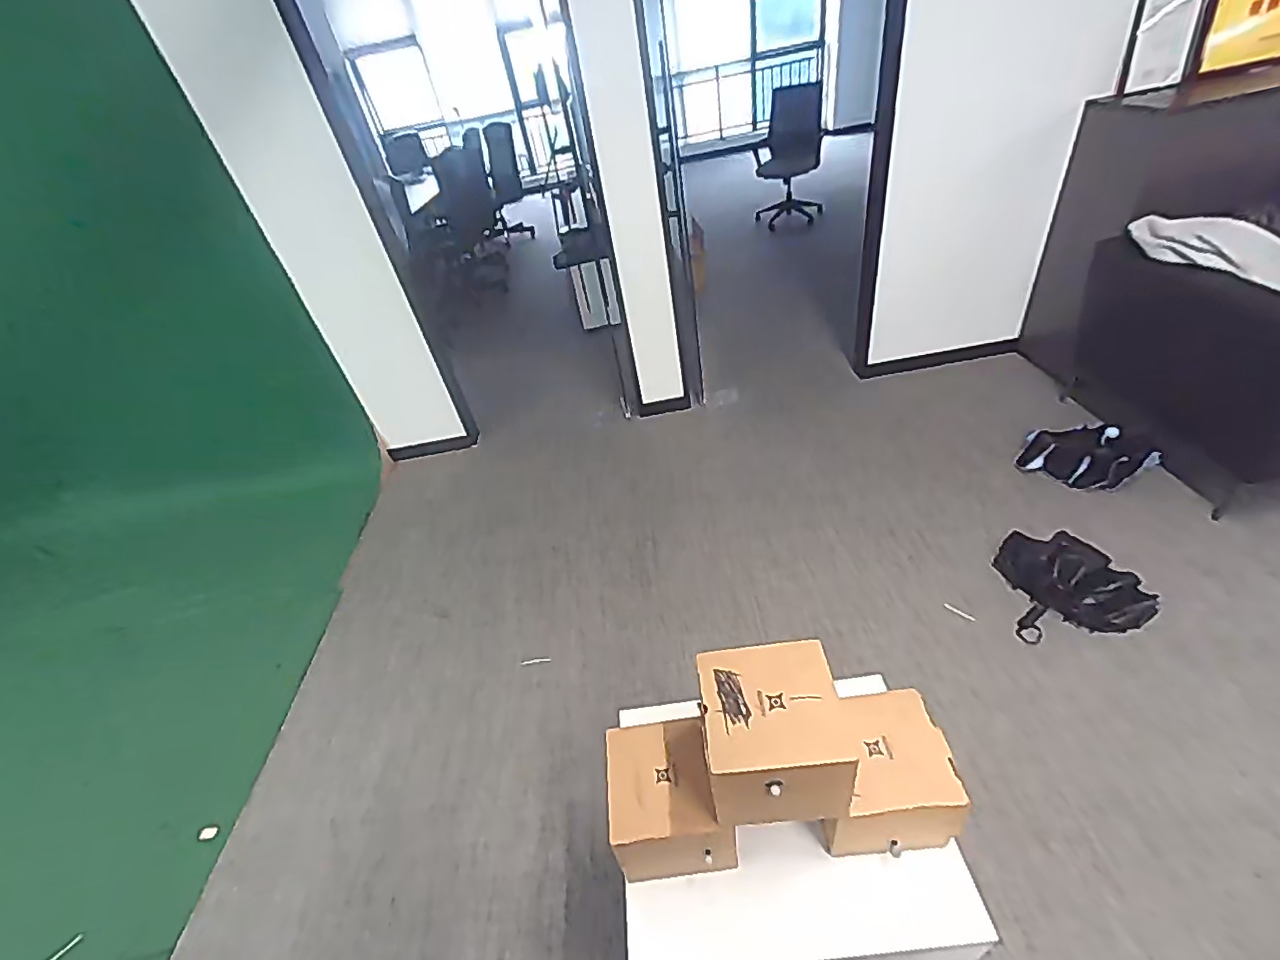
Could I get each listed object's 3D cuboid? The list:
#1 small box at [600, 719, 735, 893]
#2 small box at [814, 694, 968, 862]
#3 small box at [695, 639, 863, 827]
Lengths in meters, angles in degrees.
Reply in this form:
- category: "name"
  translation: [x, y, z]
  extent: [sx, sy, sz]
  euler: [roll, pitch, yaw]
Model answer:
- category: "small box"
  translation: [0.039, 0.492, 0.819]
  extent: [0.179, 0.176, 0.168]
  euler: [-9, 37, -1]
- category: "small box"
  translation: [0.349, 0.450, 0.816]
  extent: [0.179, 0.176, 0.168]
  euler: [-8, 38, 2]
- category: "small box"
  translation: [0.174, 0.339, 0.722]
  extent: [0.179, 0.176, 0.168]
  euler: [-7, 38, 2]
